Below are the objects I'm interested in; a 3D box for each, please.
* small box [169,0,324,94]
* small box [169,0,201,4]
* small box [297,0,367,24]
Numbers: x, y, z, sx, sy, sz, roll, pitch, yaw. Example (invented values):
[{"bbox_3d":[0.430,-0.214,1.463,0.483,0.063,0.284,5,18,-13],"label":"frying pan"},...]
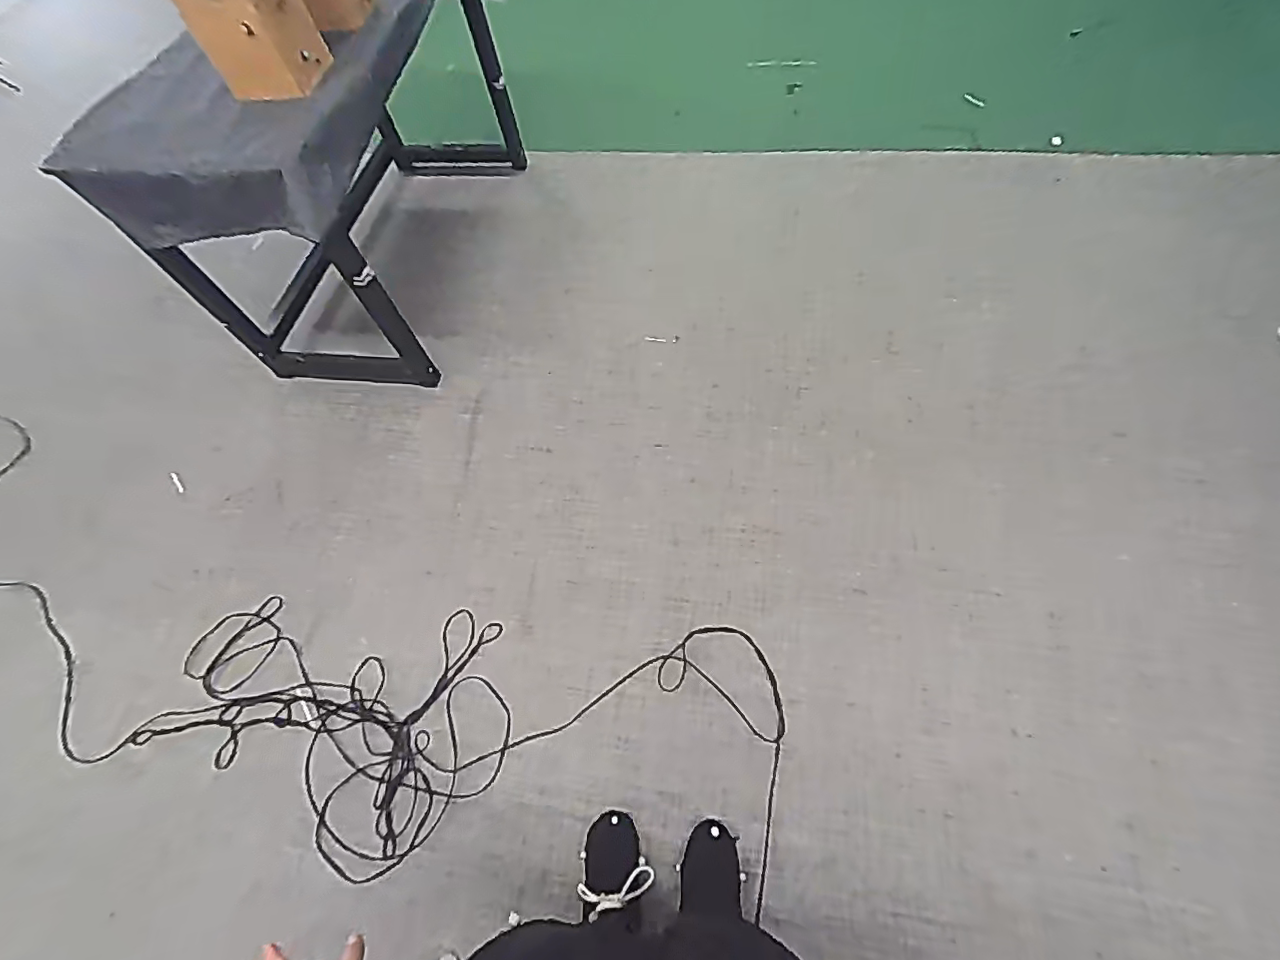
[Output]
[{"bbox_3d":[-0.838,-0.967,1.170,0.179,0.176,0.168,2,62,7],"label":"small box"},{"bbox_3d":[-0.850,-1.047,1.028,0.179,0.176,0.168,1,62,6],"label":"small box"},{"bbox_3d":[-0.790,-1.232,1.300,0.179,0.176,0.168,4,63,8],"label":"small box"}]
